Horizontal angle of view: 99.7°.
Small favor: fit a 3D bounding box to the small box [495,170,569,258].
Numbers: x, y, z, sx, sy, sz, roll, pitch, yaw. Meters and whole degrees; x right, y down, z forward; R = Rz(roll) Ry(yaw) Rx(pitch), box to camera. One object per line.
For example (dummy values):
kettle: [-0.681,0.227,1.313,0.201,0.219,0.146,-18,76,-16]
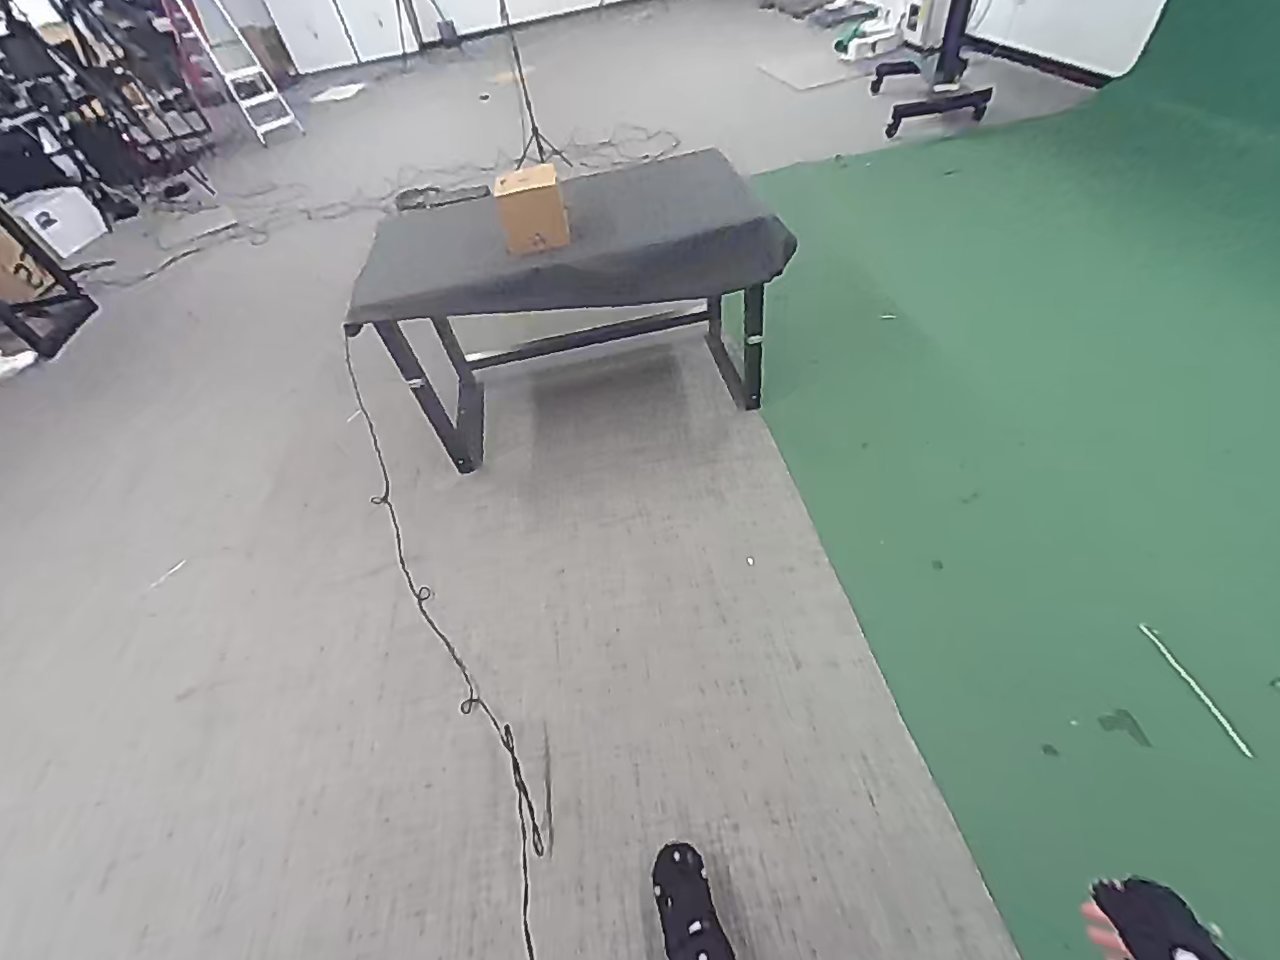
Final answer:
small box: [-0.307,-0.772,1.572,0.179,0.176,0.168,-11,47,0]
